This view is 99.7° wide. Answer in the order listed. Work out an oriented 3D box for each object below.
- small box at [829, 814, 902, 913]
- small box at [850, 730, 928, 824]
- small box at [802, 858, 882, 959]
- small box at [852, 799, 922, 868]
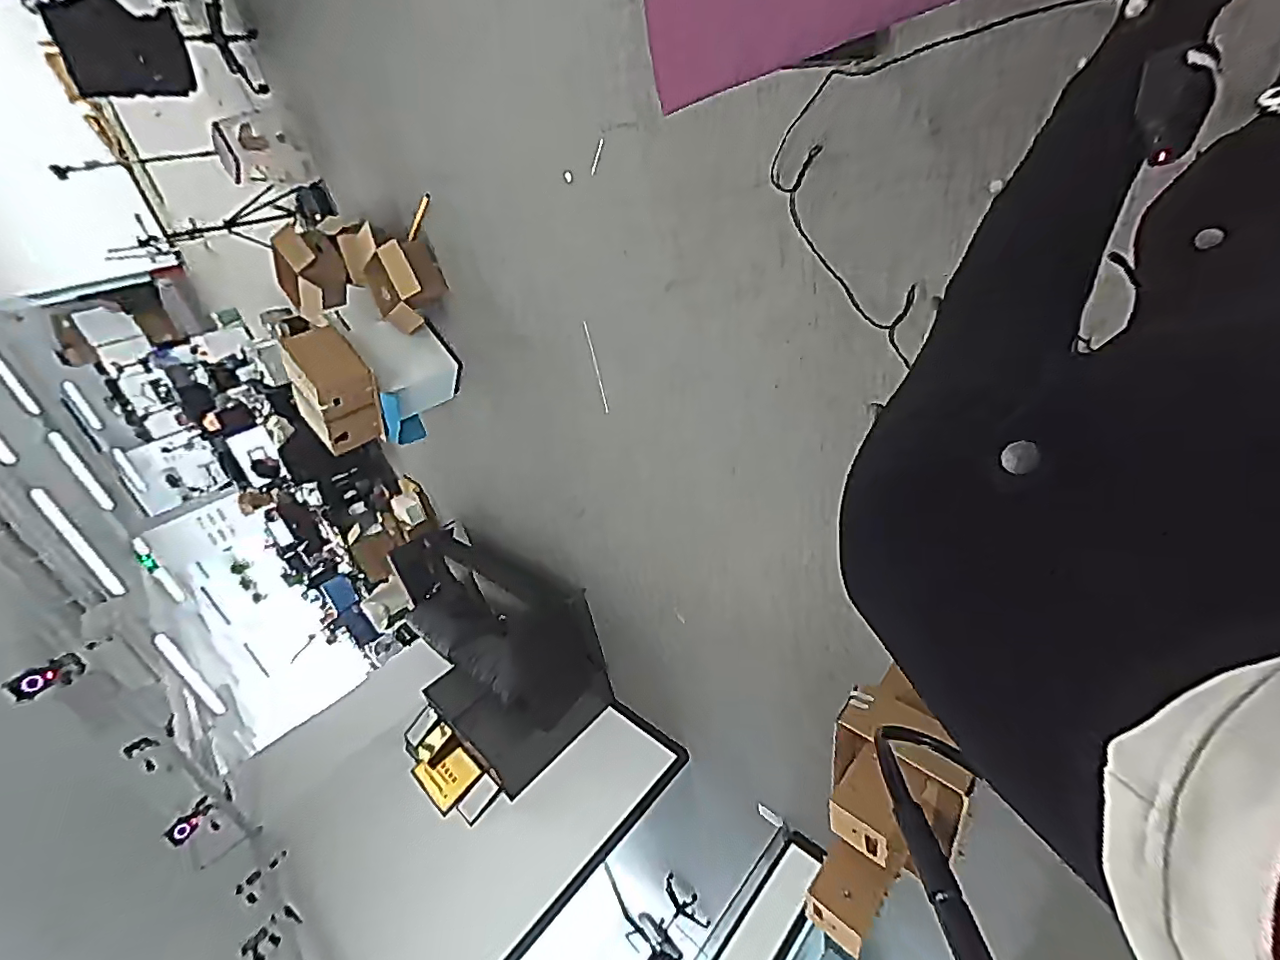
[{"bbox_3d":[0.738,1.251,1.775,0.179,0.176,0.168,20,130,39],"label":"small box"},{"bbox_3d":[0.797,0.941,1.735,0.179,0.176,0.168,18,131,41],"label":"small box"},{"bbox_3d":[0.625,1.325,1.680,0.179,0.176,0.168,19,130,39],"label":"small box"},{"bbox_3d":[0.849,1.175,1.868,0.179,0.176,0.168,22,132,39],"label":"small box"}]
